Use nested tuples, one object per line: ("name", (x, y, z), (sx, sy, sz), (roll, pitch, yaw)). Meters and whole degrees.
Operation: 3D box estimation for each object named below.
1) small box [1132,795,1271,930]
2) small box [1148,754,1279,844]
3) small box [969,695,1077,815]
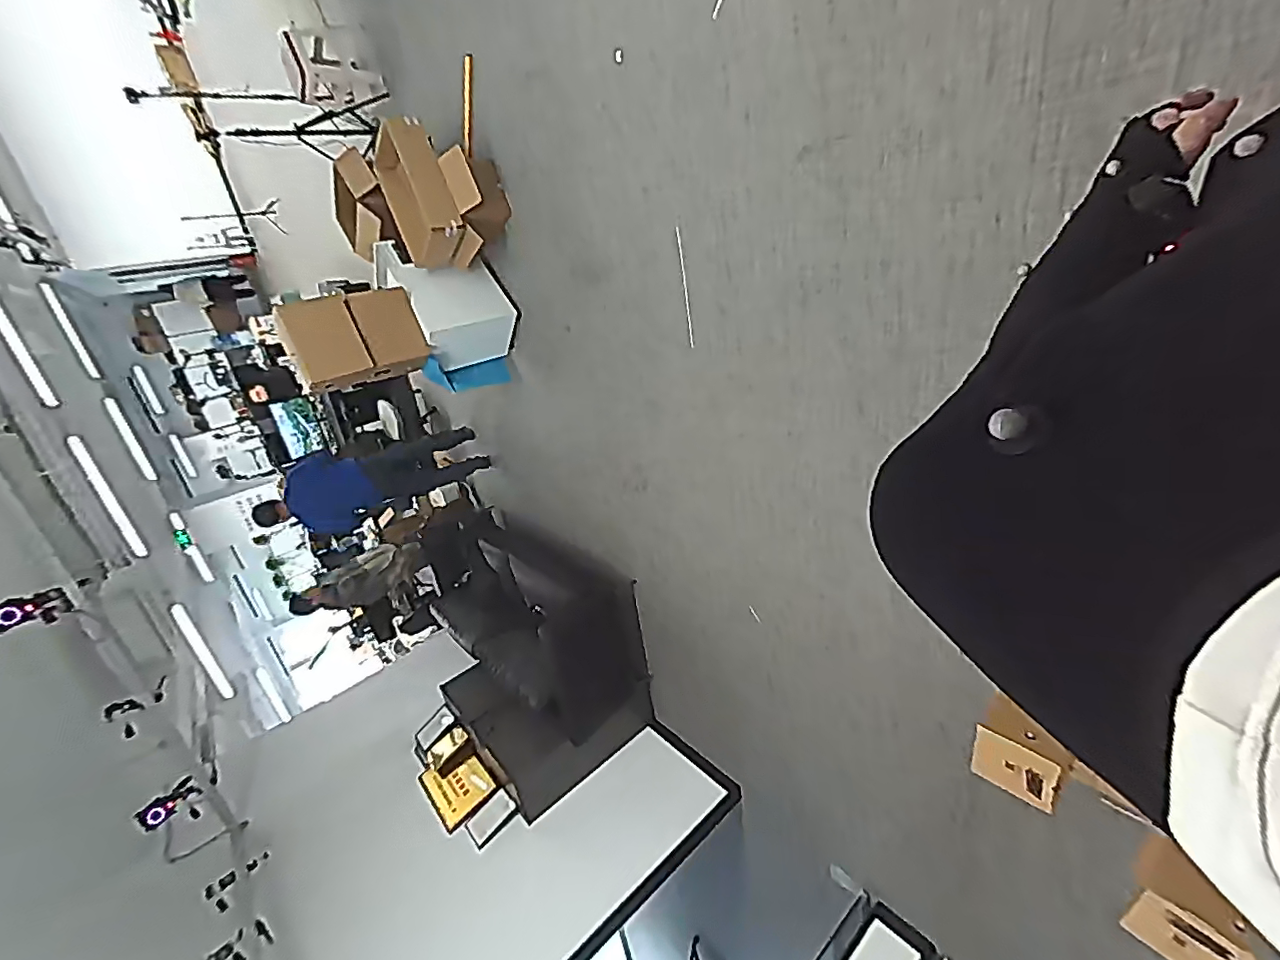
("small box", (1.328, 0.889, 1.282), (0.179, 0.176, 0.168), (27, 132, 42))
("small box", (1.455, 0.837, 1.374), (0.179, 0.176, 0.168), (28, 132, 42))
("small box", (0.961, 0.676, 1.354), (0.179, 0.176, 0.168), (18, 124, 46))
